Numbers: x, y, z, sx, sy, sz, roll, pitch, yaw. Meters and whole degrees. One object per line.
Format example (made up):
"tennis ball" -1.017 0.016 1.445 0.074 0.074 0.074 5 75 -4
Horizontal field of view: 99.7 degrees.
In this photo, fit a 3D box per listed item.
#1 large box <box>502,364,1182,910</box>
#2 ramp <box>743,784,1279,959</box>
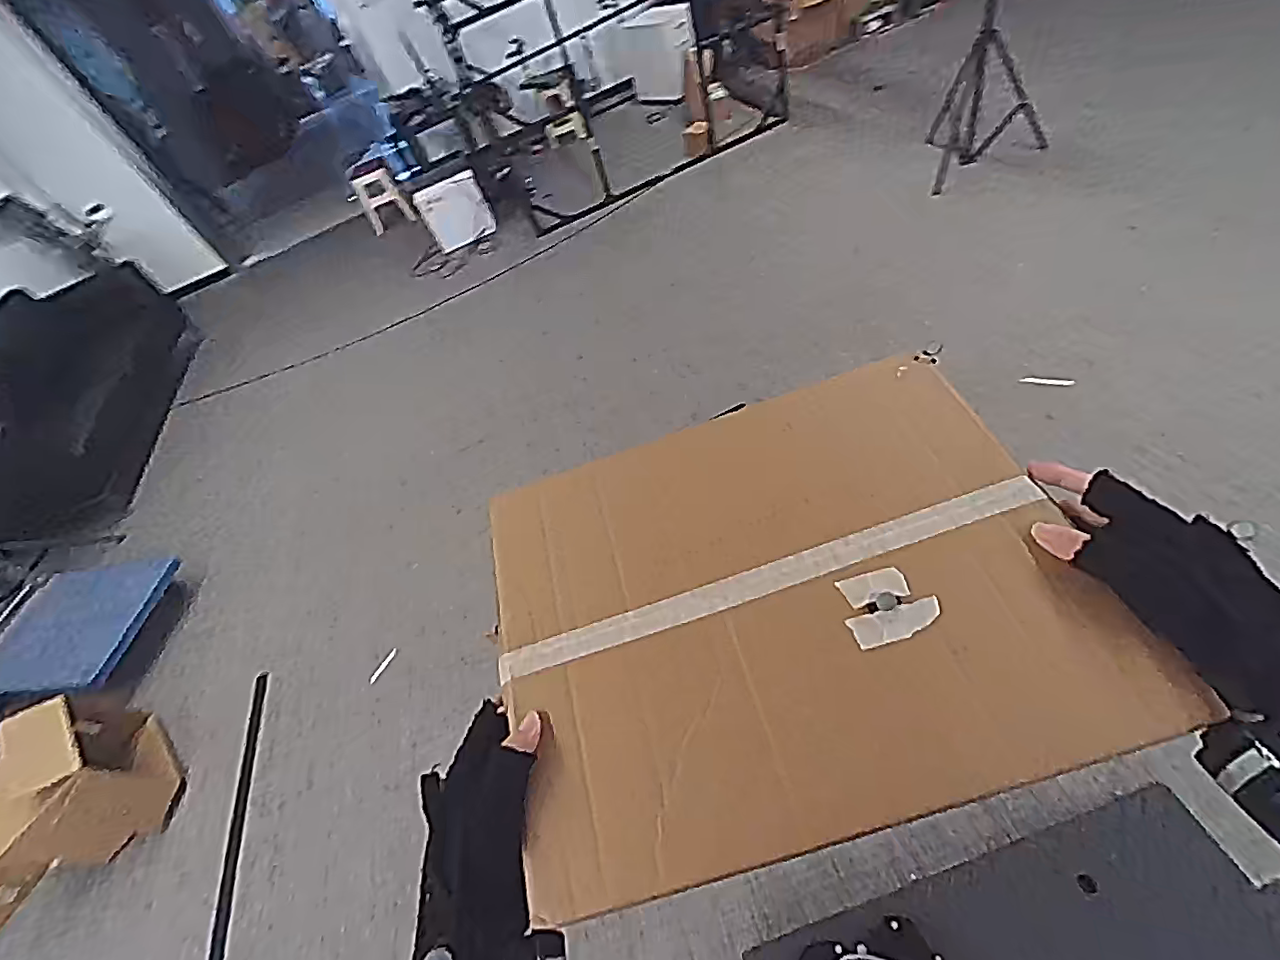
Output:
"large box" 0.127 0.158 0.527 0.408 0.320 0.320 -19 55 3
"ramp" 0.741 0.974 0.979 0.991 0.206 0.509 -25 46 0
